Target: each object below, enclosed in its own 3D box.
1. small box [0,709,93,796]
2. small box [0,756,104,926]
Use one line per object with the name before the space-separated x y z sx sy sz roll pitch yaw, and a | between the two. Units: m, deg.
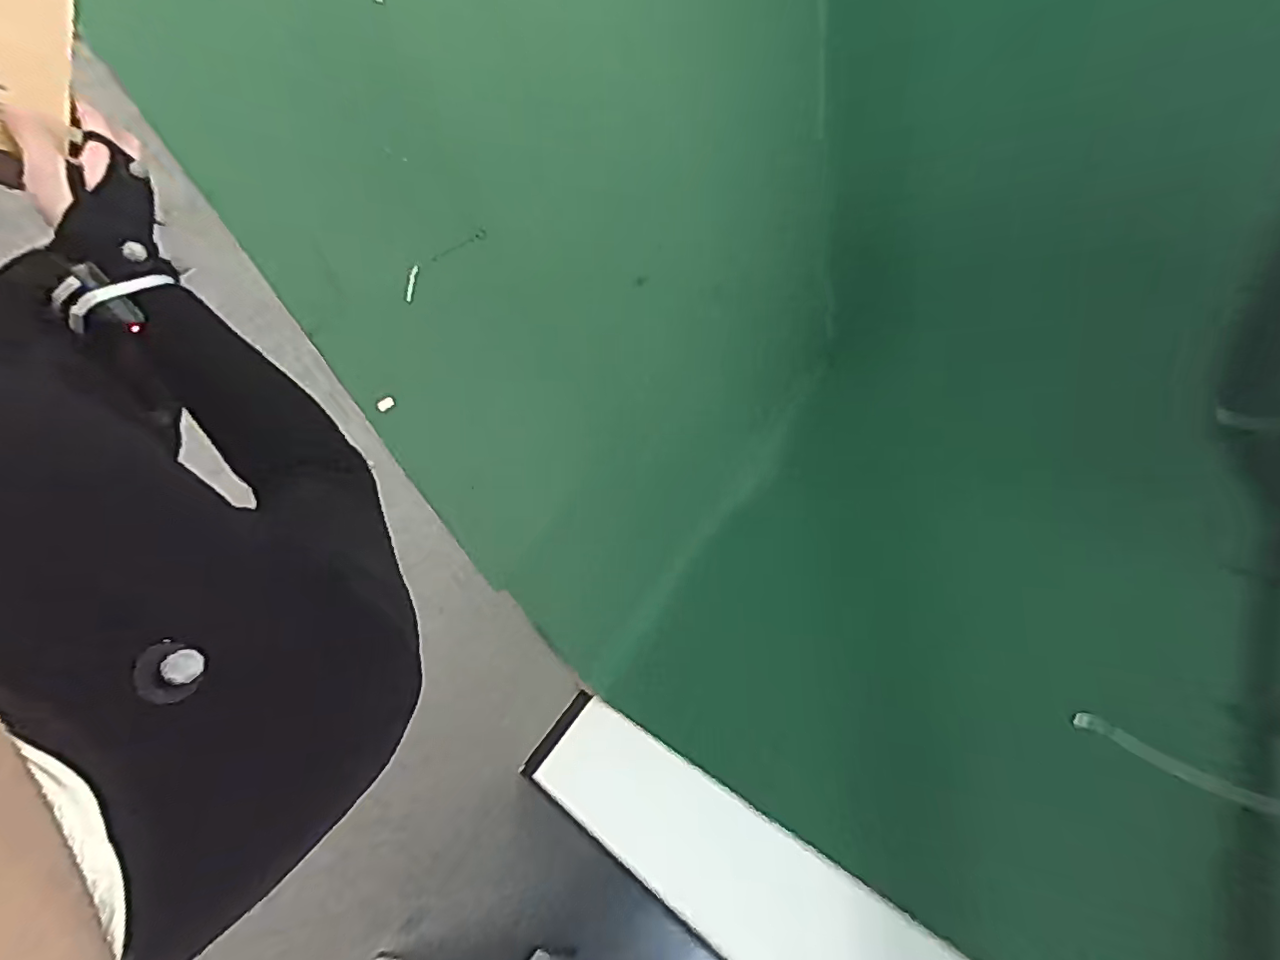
small box | -1.235 0.585 1.053 0.168 0.176 0.179 -42 134 -33
small box | -1.116 0.631 0.951 0.179 0.176 0.168 -42 134 -33
